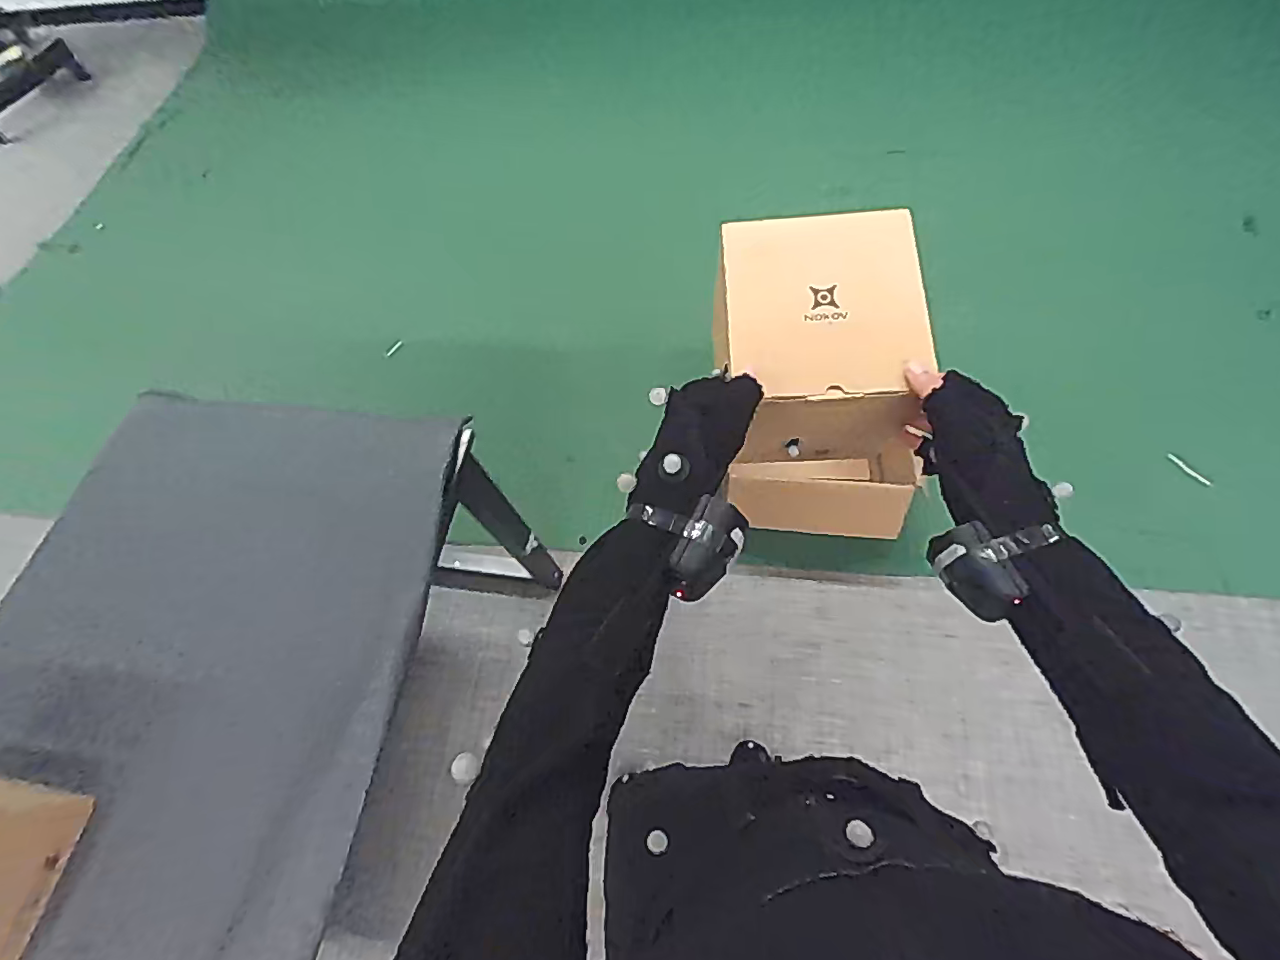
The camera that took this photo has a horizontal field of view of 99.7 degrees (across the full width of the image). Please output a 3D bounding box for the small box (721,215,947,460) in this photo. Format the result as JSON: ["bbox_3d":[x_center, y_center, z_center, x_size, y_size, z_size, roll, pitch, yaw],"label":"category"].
[{"bbox_3d":[0.170,-0.128,0.535,0.168,0.176,0.179,-2,75,5],"label":"small box"}]
